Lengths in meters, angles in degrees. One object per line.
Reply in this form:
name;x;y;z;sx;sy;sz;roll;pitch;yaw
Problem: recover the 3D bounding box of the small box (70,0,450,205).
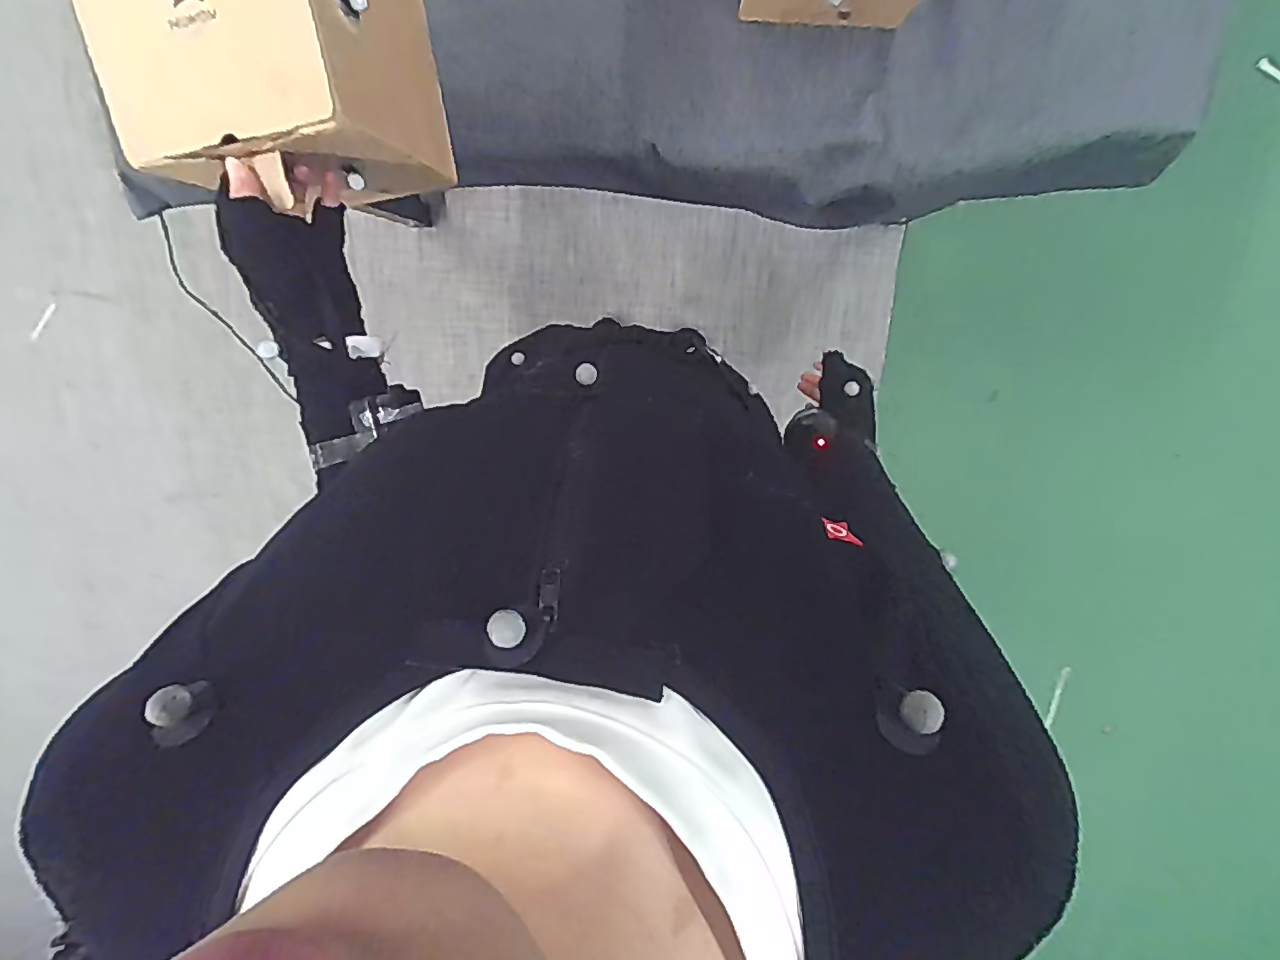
small box;-0.267;-0.323;0.408;0.168;0.176;0.179;-5;104;10
